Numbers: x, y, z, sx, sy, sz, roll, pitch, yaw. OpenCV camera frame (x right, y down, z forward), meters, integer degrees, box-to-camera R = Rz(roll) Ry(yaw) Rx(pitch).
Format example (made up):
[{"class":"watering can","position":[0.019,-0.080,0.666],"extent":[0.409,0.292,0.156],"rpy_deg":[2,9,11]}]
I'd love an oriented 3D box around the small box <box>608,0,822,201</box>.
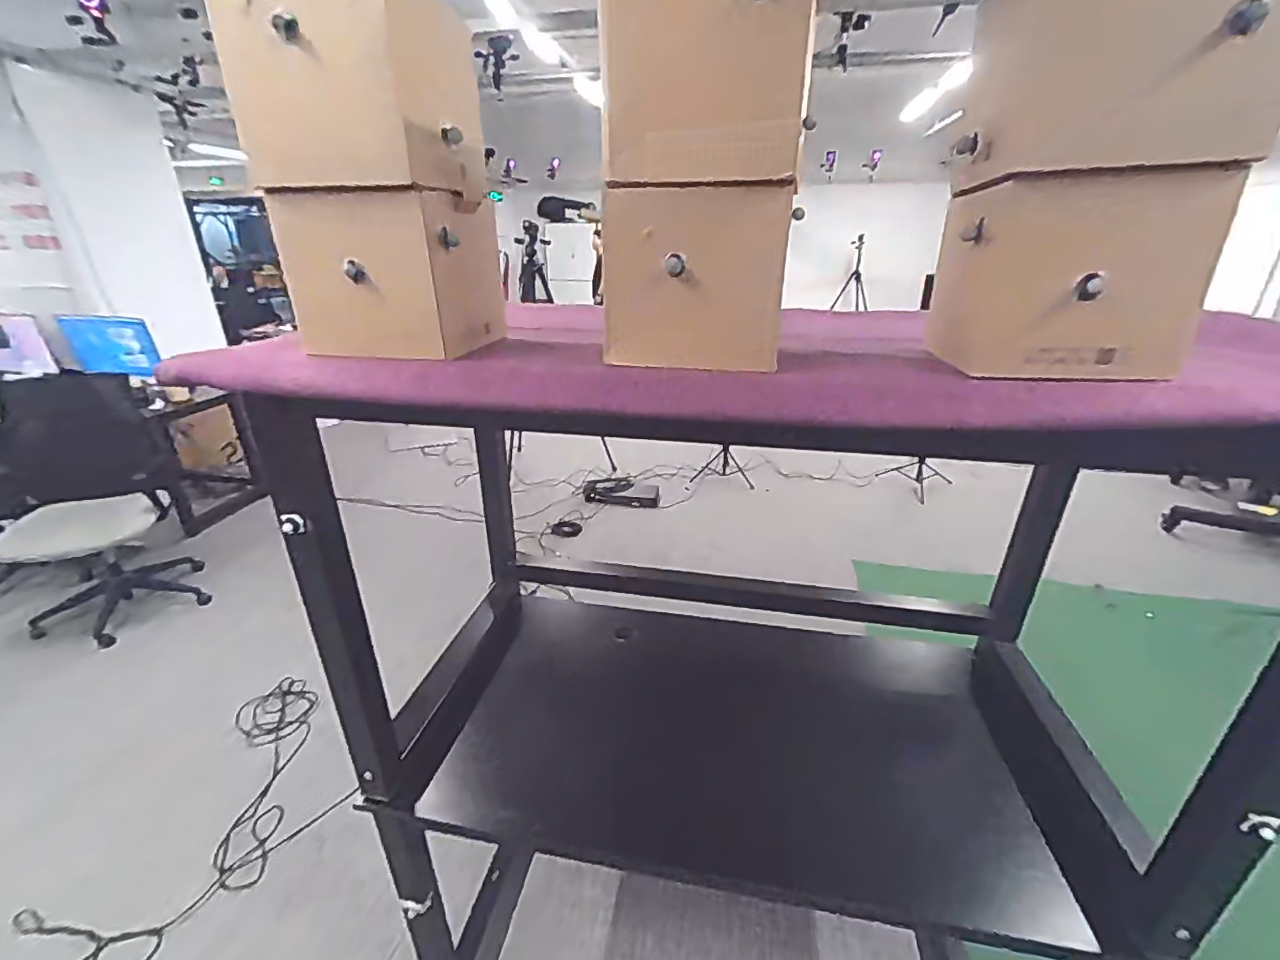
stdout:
[{"class":"small box","position":[0.072,-0.363,0.513],"extent":[0.179,0.176,0.168],"rpy_deg":[7,25,14]}]

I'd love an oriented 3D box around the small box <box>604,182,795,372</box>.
[{"class":"small box","position":[0.069,-0.215,0.584],"extent":[0.179,0.176,0.168],"rpy_deg":[5,25,12]}]

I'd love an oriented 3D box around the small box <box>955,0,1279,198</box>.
[{"class":"small box","position":[0.397,-0.339,0.457],"extent":[0.179,0.176,0.168],"rpy_deg":[2,21,12]}]

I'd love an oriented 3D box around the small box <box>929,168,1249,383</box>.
[{"class":"small box","position":[0.405,-0.194,0.530],"extent":[0.168,0.176,0.179],"rpy_deg":[4,22,12]}]

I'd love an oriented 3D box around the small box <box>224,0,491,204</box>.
[{"class":"small box","position":[-0.273,-0.386,0.556],"extent":[0.179,0.176,0.168],"rpy_deg":[5,25,10]}]
